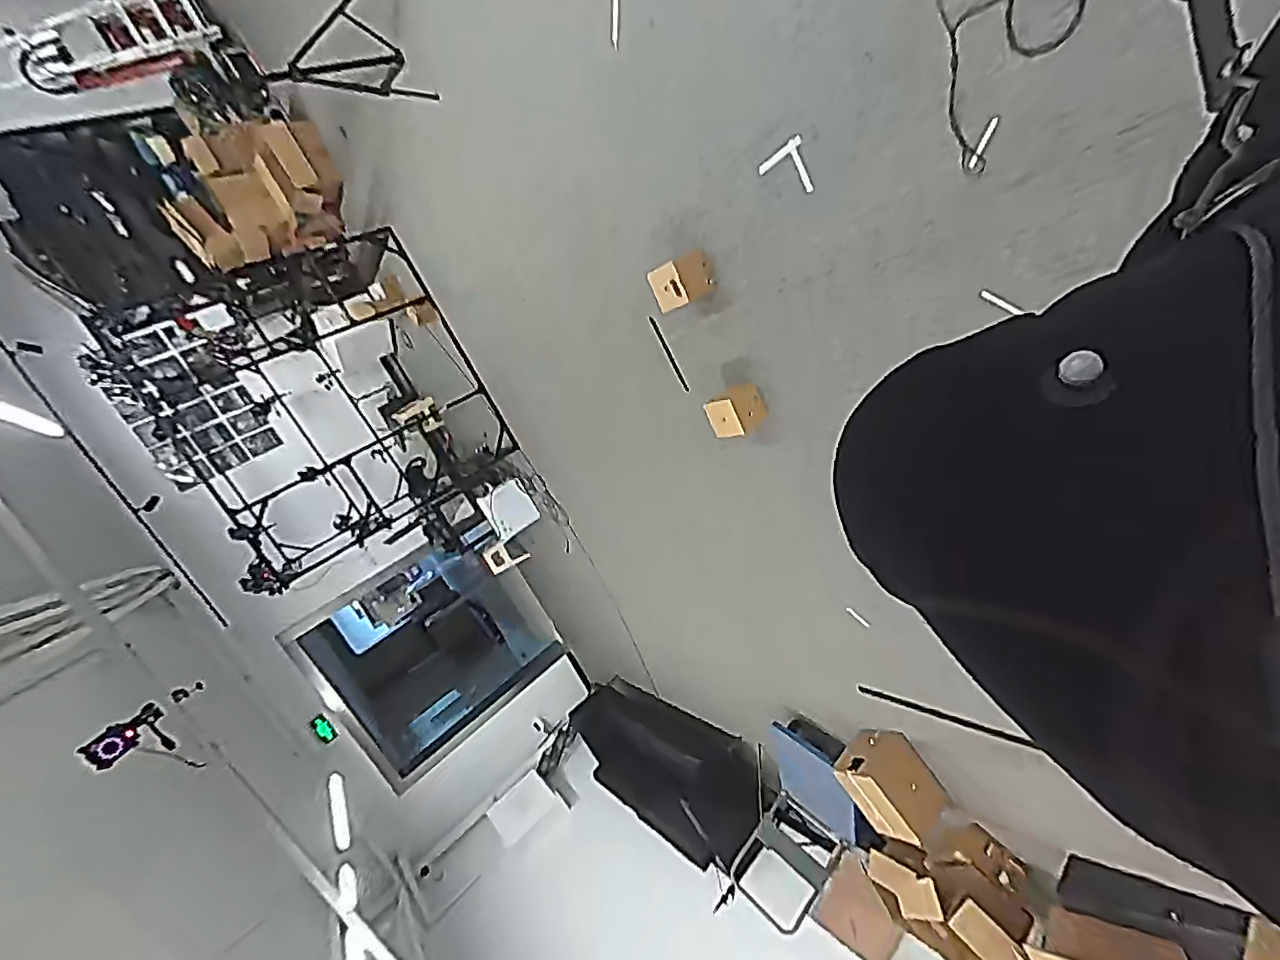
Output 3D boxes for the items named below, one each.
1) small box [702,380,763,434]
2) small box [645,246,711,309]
[{"bbox_3d":[0.404,-0.314,2.314,0.179,0.176,0.168,-1,121,58],"label":"small box"},{"bbox_3d":[0.159,-0.804,2.143,0.179,0.176,0.168,1,122,57],"label":"small box"}]
